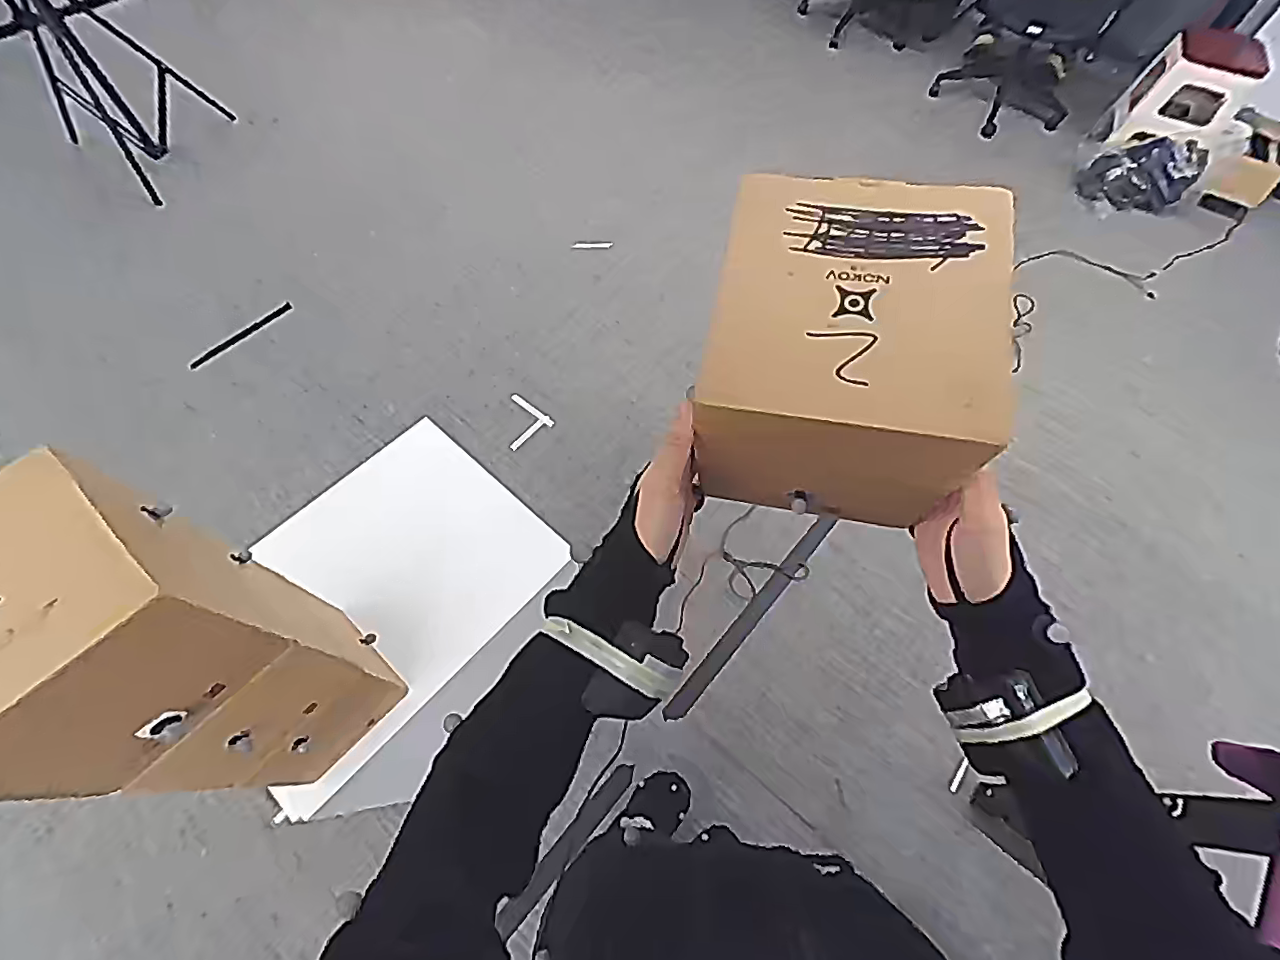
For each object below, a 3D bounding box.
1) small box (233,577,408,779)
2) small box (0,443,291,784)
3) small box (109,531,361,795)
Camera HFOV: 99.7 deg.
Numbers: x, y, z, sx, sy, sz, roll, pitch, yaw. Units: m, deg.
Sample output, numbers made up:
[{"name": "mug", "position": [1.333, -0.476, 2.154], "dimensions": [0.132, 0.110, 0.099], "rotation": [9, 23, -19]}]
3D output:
[{"name": "small box", "position": [-0.443, 0.263, 0.708], "dimensions": [0.179, 0.176, 0.168], "rotation": [39, 67, 17]}, {"name": "small box", "position": [-0.428, 0.111, 0.420], "dimensions": [0.179, 0.176, 0.168], "rotation": [38, 68, 15]}, {"name": "small box", "position": [-0.434, 0.189, 0.563], "dimensions": [0.179, 0.176, 0.168], "rotation": [38, 67, 16]}]
